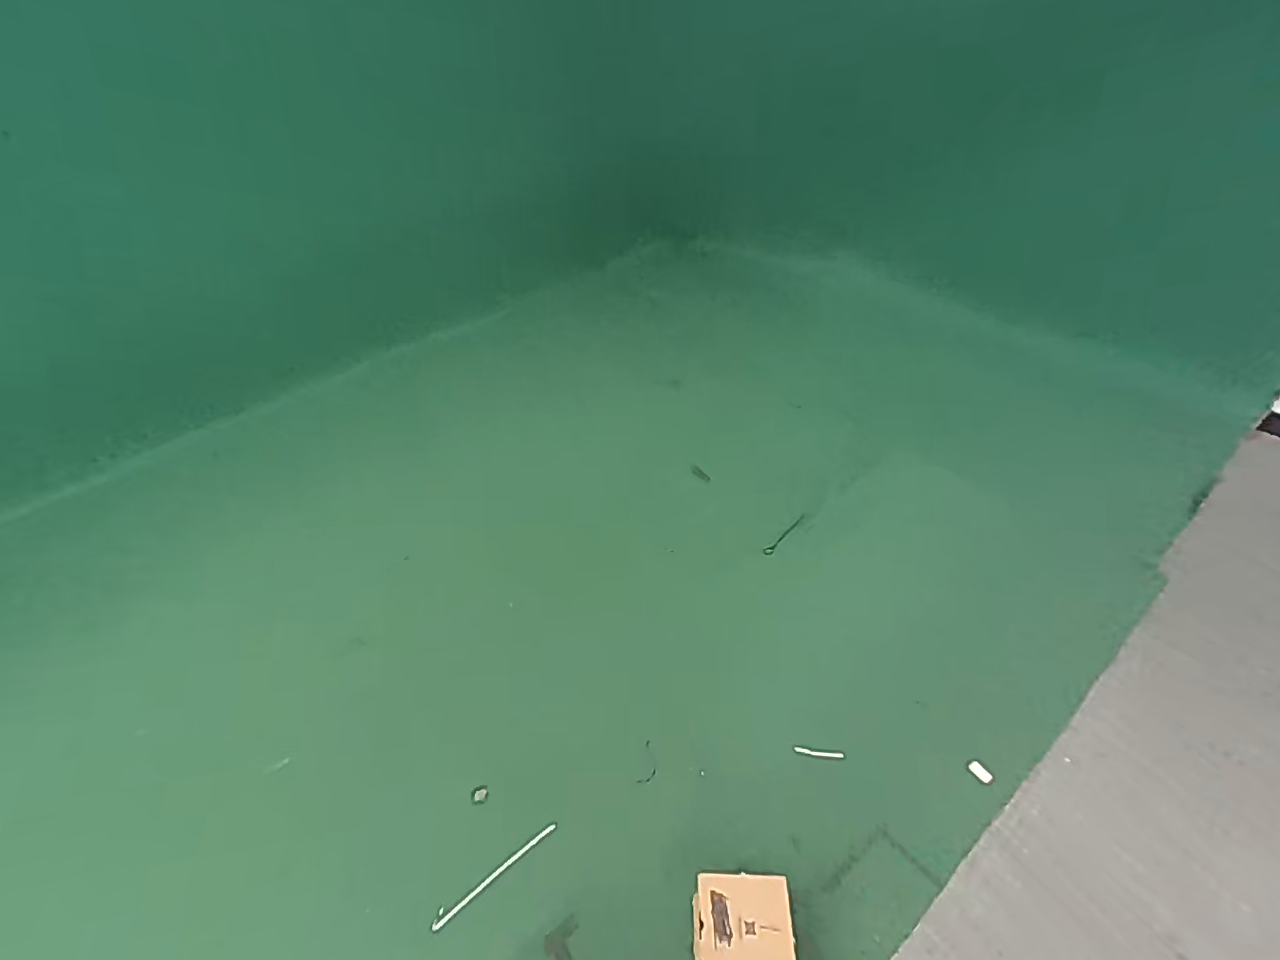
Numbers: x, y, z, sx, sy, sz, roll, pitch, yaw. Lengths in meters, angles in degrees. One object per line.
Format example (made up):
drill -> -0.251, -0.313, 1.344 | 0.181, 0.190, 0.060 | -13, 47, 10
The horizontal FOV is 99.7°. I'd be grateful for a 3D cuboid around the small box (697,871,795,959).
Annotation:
small box -> 0.203, 0.895, 1.071 | 0.179, 0.176, 0.168 | 0, 46, 5
